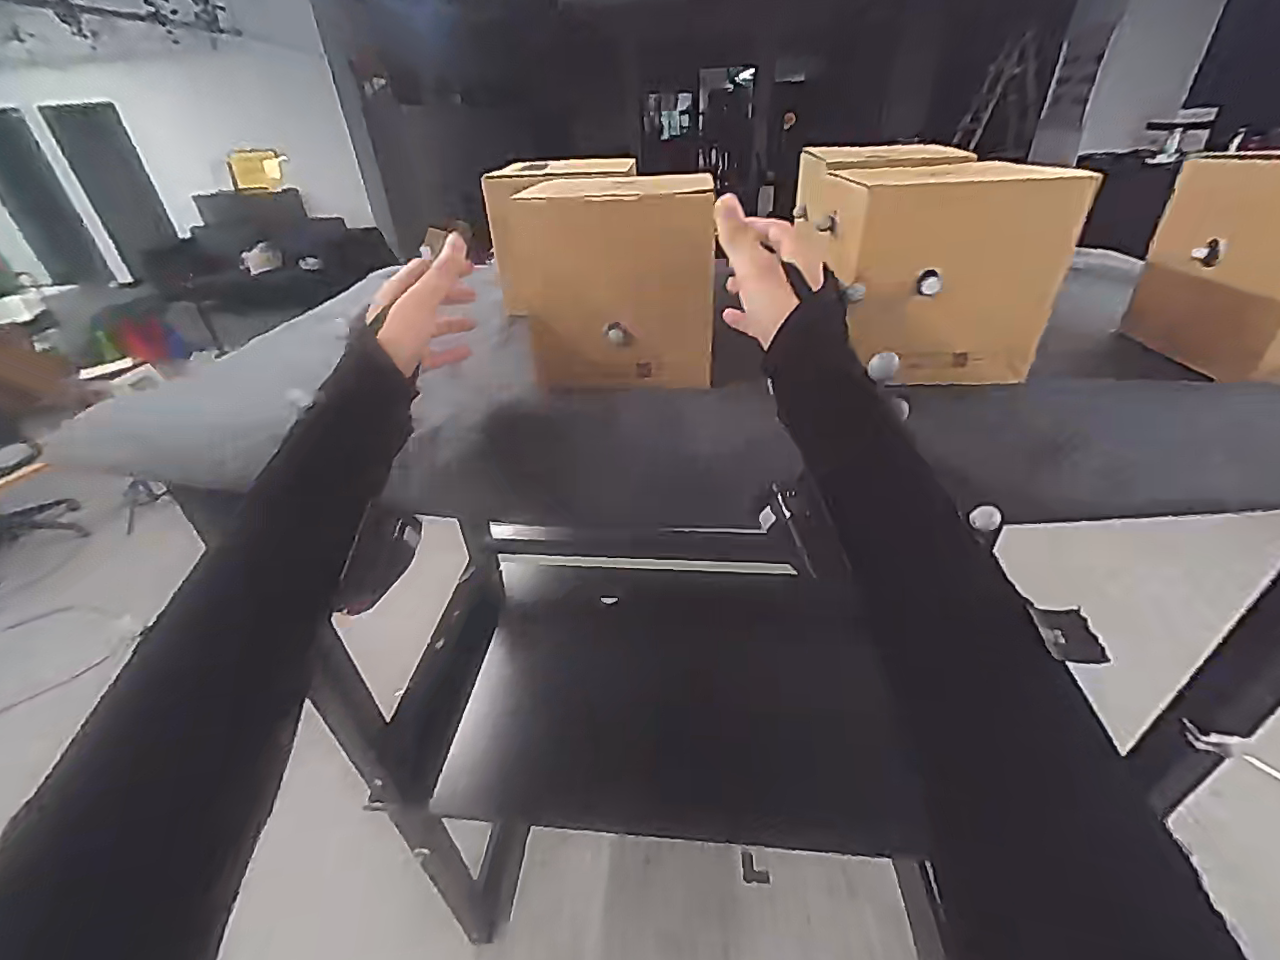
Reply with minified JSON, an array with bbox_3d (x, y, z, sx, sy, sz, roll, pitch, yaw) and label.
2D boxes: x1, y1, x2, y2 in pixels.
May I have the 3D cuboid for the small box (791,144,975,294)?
[{"bbox_3d":[0.304,-0.348,0.724,0.168,0.176,0.179,1,33,5],"label":"small box"}]

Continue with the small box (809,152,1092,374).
[{"bbox_3d":[0.265,-0.207,0.516,0.168,0.176,0.179,1,32,6],"label":"small box"}]

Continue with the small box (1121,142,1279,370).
[{"bbox_3d":[0.576,-0.190,0.459,0.168,0.176,0.179,2,31,8],"label":"small box"}]
